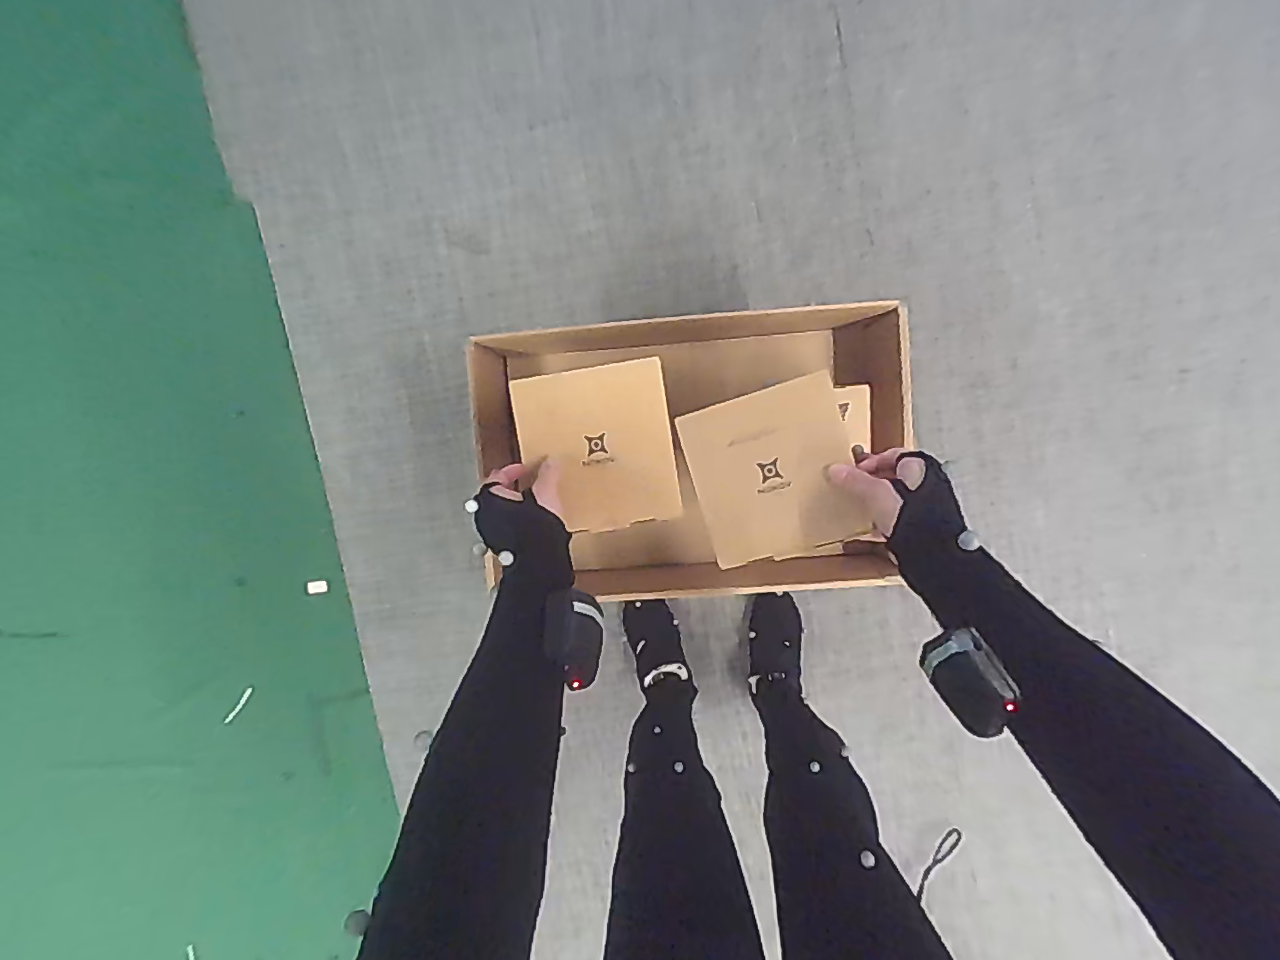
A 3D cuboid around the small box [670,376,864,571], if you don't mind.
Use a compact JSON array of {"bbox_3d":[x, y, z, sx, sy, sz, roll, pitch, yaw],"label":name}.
[{"bbox_3d":[0.154,-0.013,0.640,0.168,0.176,0.179,-16,91,19],"label":"small box"}]
